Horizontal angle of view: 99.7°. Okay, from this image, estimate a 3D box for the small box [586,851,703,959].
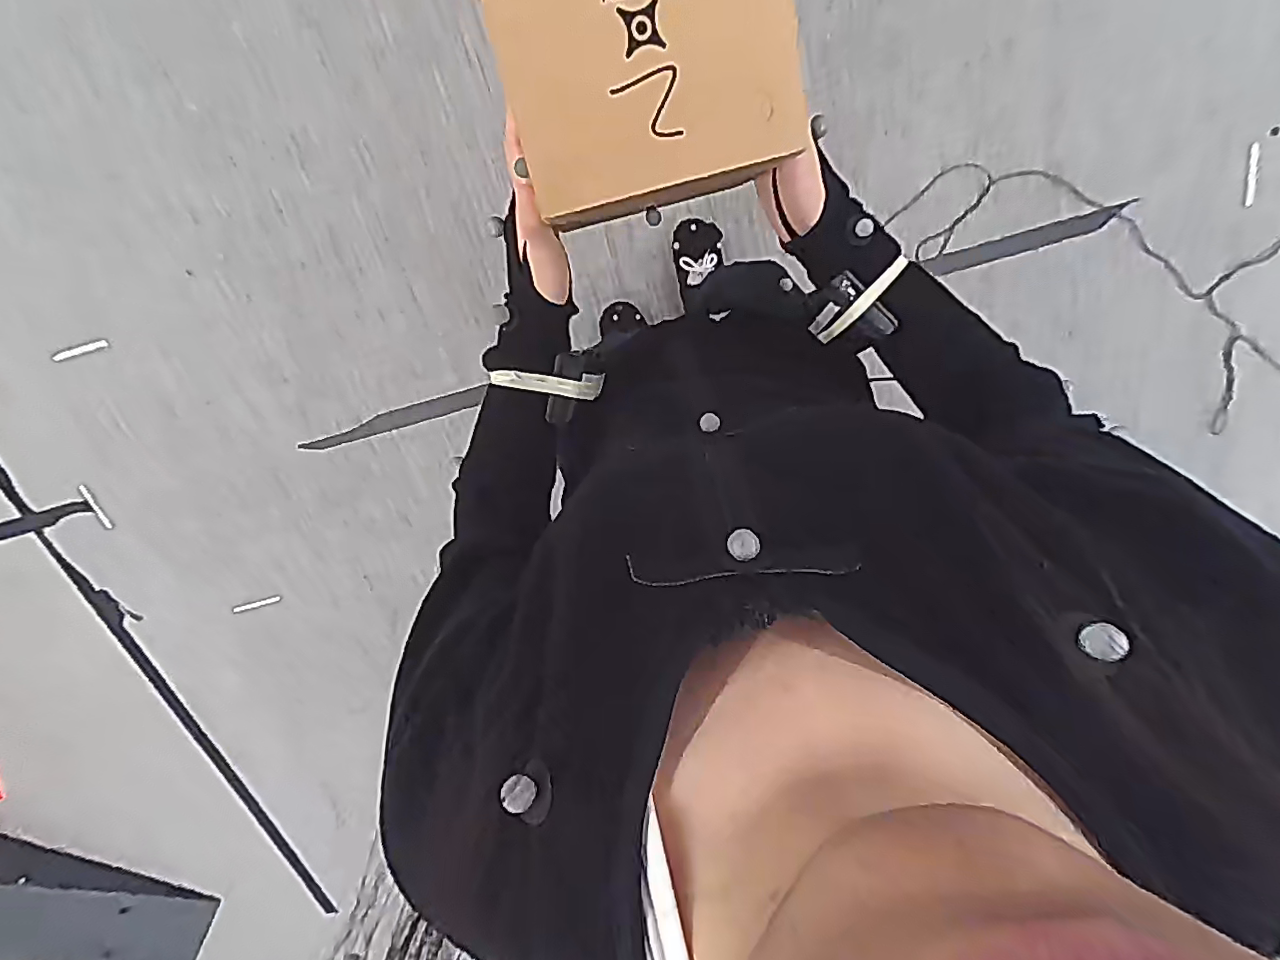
[{"bbox_3d":[0.013,0.806,0.960,0.179,0.176,0.168,-14,110,3],"label":"small box"}]

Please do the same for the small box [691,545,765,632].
[{"bbox_3d":[0.250,0.305,1.563,0.168,0.176,0.179,-14,111,4],"label":"small box"}]
